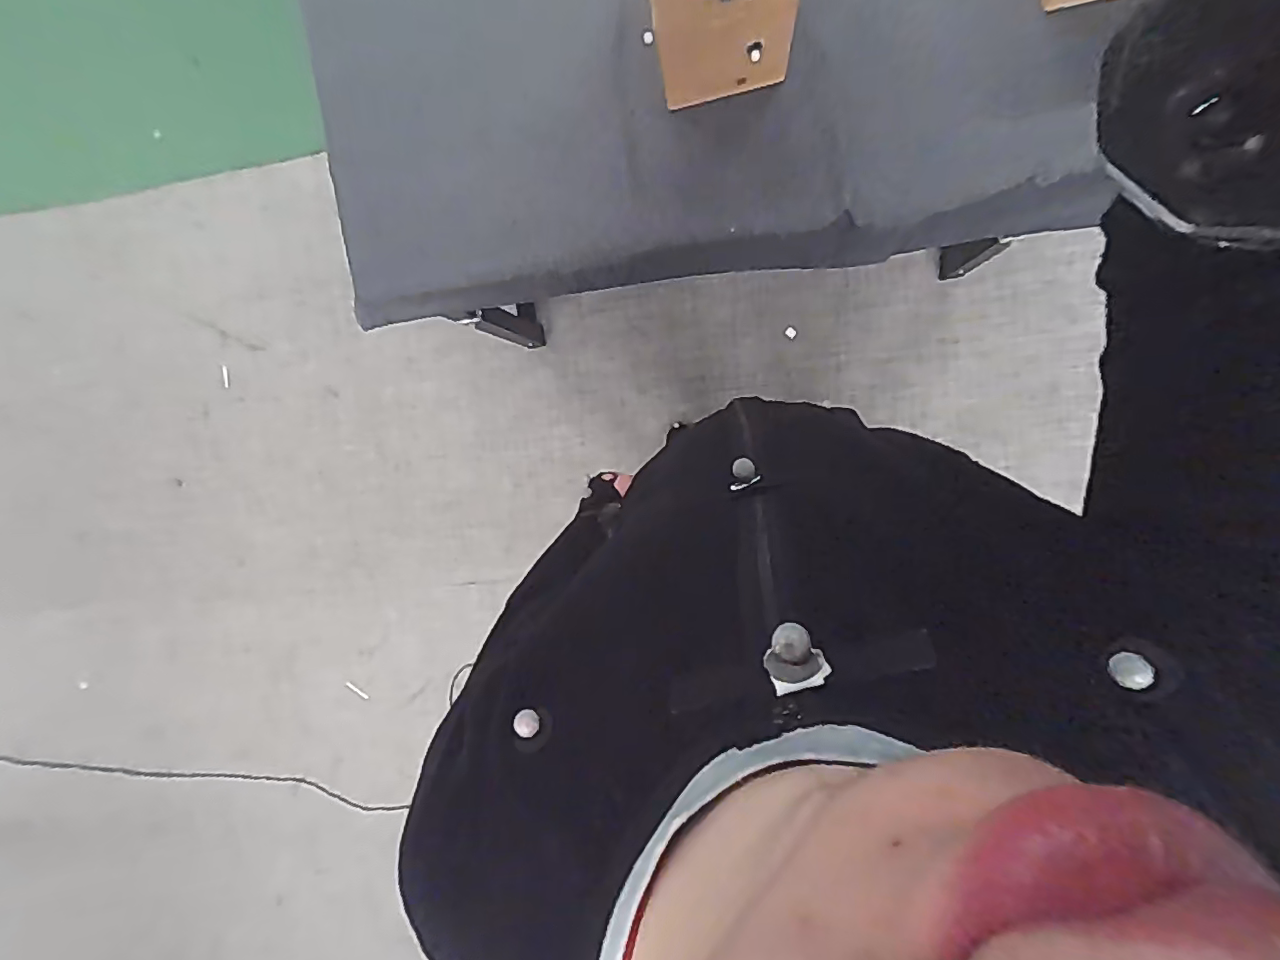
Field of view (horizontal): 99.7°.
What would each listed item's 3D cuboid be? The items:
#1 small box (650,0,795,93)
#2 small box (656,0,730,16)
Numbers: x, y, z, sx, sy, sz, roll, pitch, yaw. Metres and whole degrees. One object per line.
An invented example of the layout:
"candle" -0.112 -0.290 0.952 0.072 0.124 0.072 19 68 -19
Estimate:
"small box" 0.093 -0.612 0.658 0.168 0.176 0.179 -9 94 8
"small box" 0.073 -0.593 0.496 0.168 0.176 0.179 -9 96 8
